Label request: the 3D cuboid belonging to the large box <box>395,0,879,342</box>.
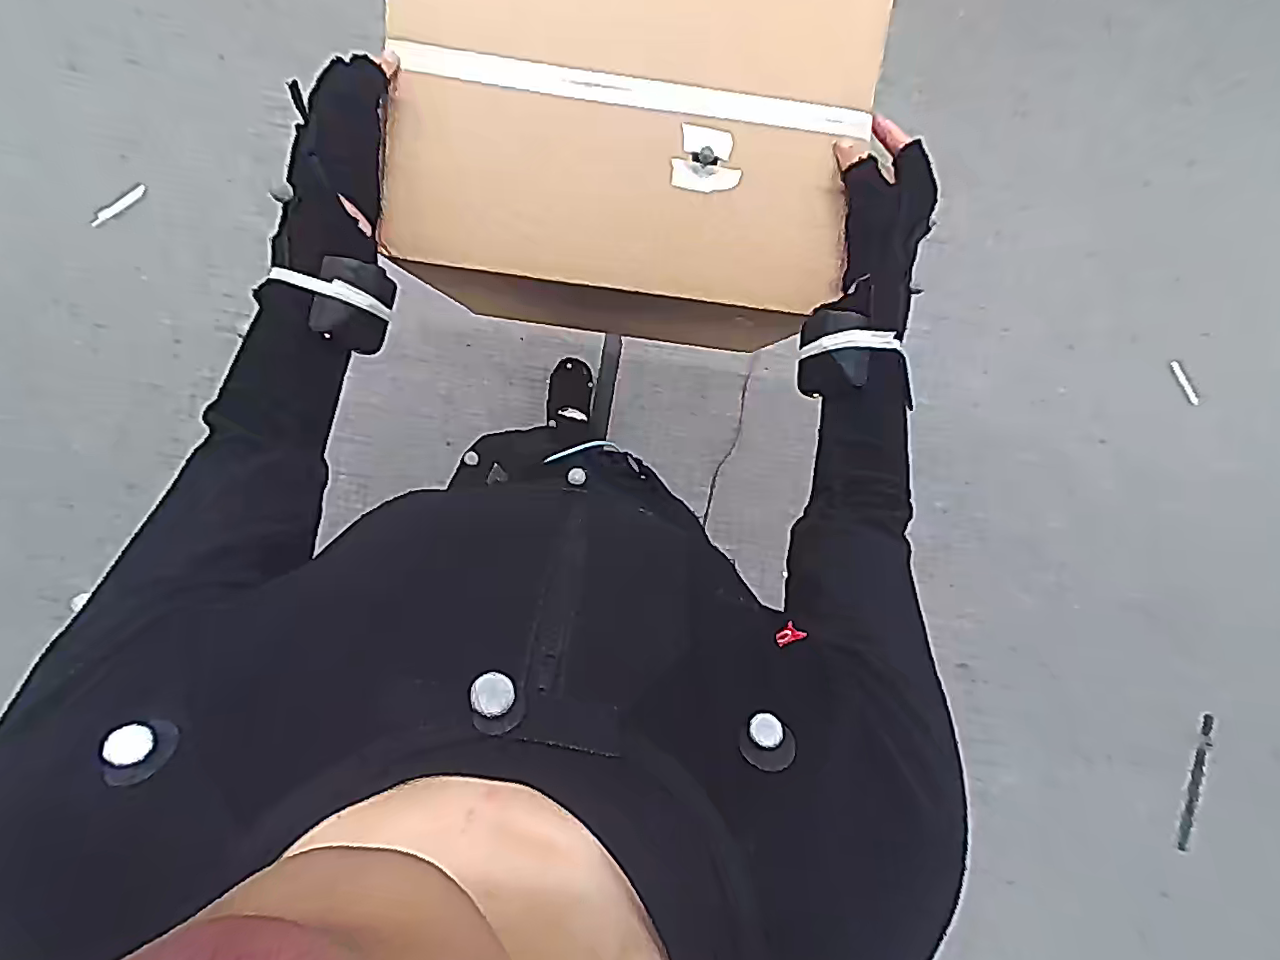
[{"bbox_3d":[-0.012,-0.350,0.613,0.408,0.320,0.320,7,99,-4],"label":"large box"}]
